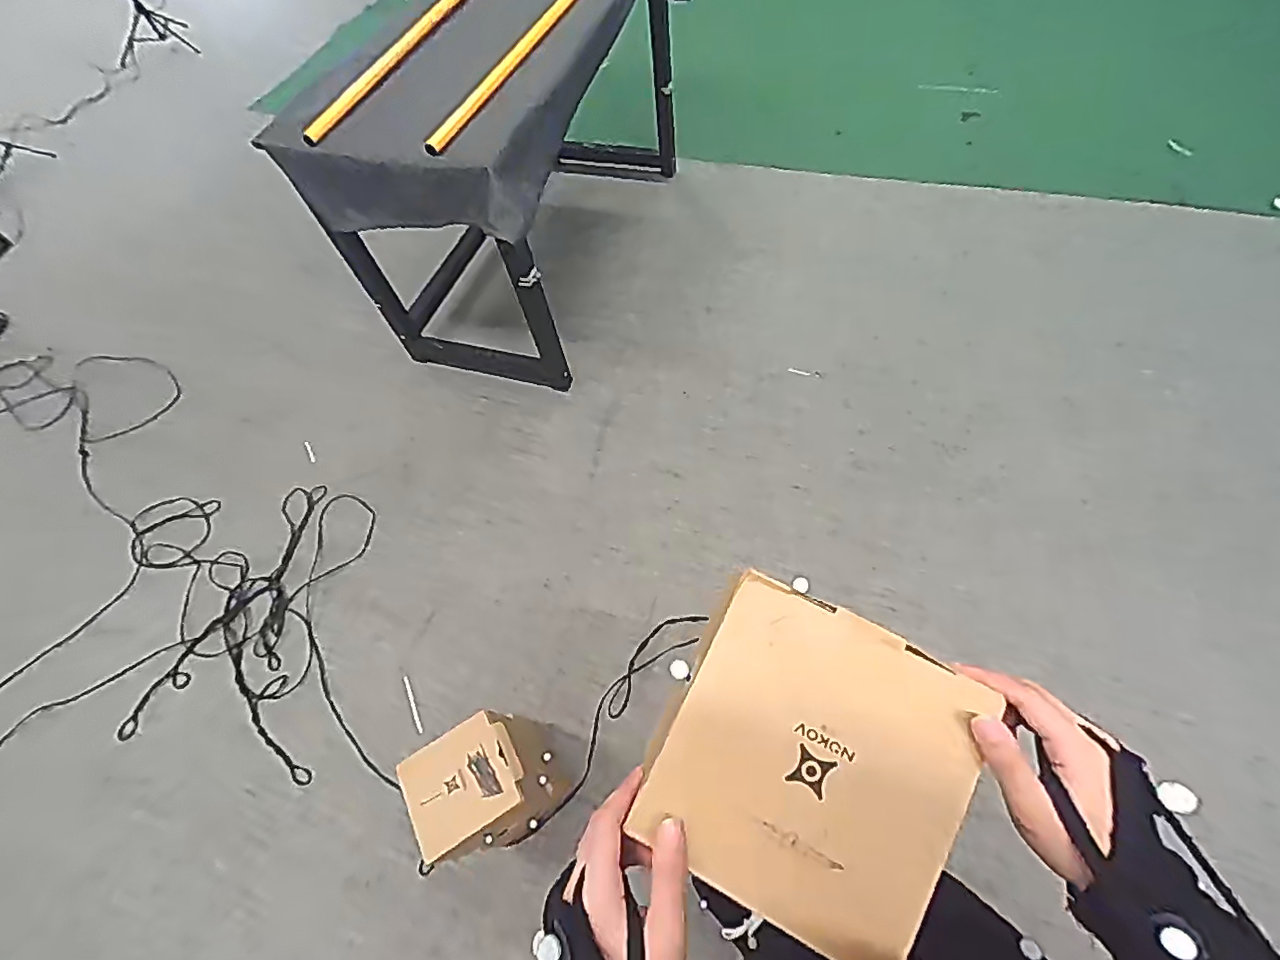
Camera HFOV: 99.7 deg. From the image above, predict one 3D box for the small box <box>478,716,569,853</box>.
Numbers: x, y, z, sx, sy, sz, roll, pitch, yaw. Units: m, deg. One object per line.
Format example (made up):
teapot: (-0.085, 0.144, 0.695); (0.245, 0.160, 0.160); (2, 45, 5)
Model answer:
small box: (-0.266, 0.615, 1.107); (0.168, 0.176, 0.179); (-35, 62, -12)

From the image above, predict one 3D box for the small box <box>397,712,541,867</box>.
small box: (-0.291, 0.542, 0.960); (0.179, 0.176, 0.168); (-30, 61, -9)

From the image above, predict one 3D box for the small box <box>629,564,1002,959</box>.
small box: (0.110, 0.177, 0.393); (0.168, 0.176, 0.179); (25, 83, 12)
